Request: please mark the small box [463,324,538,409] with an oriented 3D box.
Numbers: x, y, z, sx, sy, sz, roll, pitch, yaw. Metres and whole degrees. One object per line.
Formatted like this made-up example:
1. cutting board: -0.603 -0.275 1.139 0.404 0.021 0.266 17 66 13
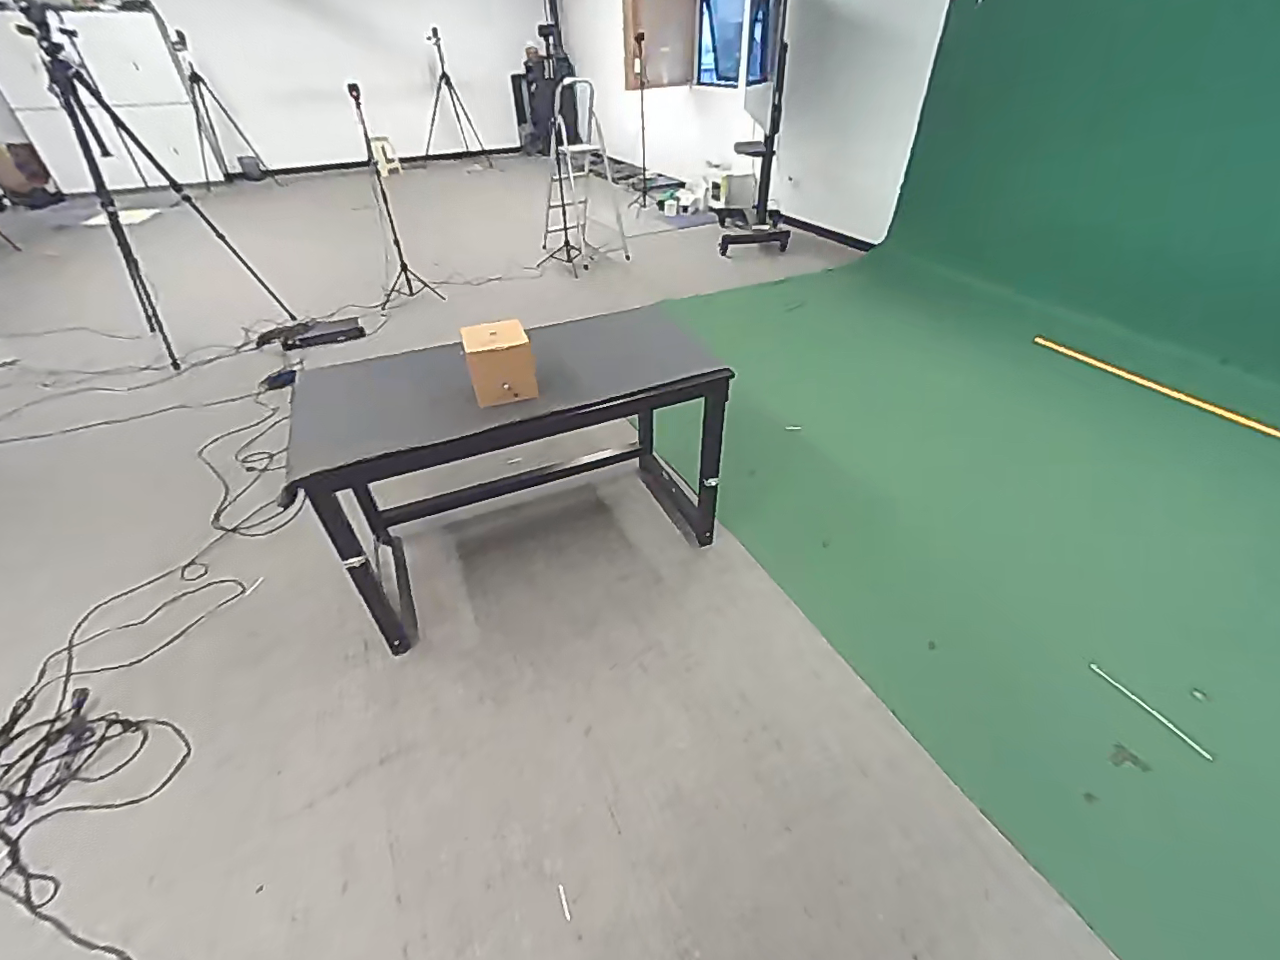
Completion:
1. small box: -0.392 -0.320 1.521 0.168 0.176 0.179 -14 40 -15
